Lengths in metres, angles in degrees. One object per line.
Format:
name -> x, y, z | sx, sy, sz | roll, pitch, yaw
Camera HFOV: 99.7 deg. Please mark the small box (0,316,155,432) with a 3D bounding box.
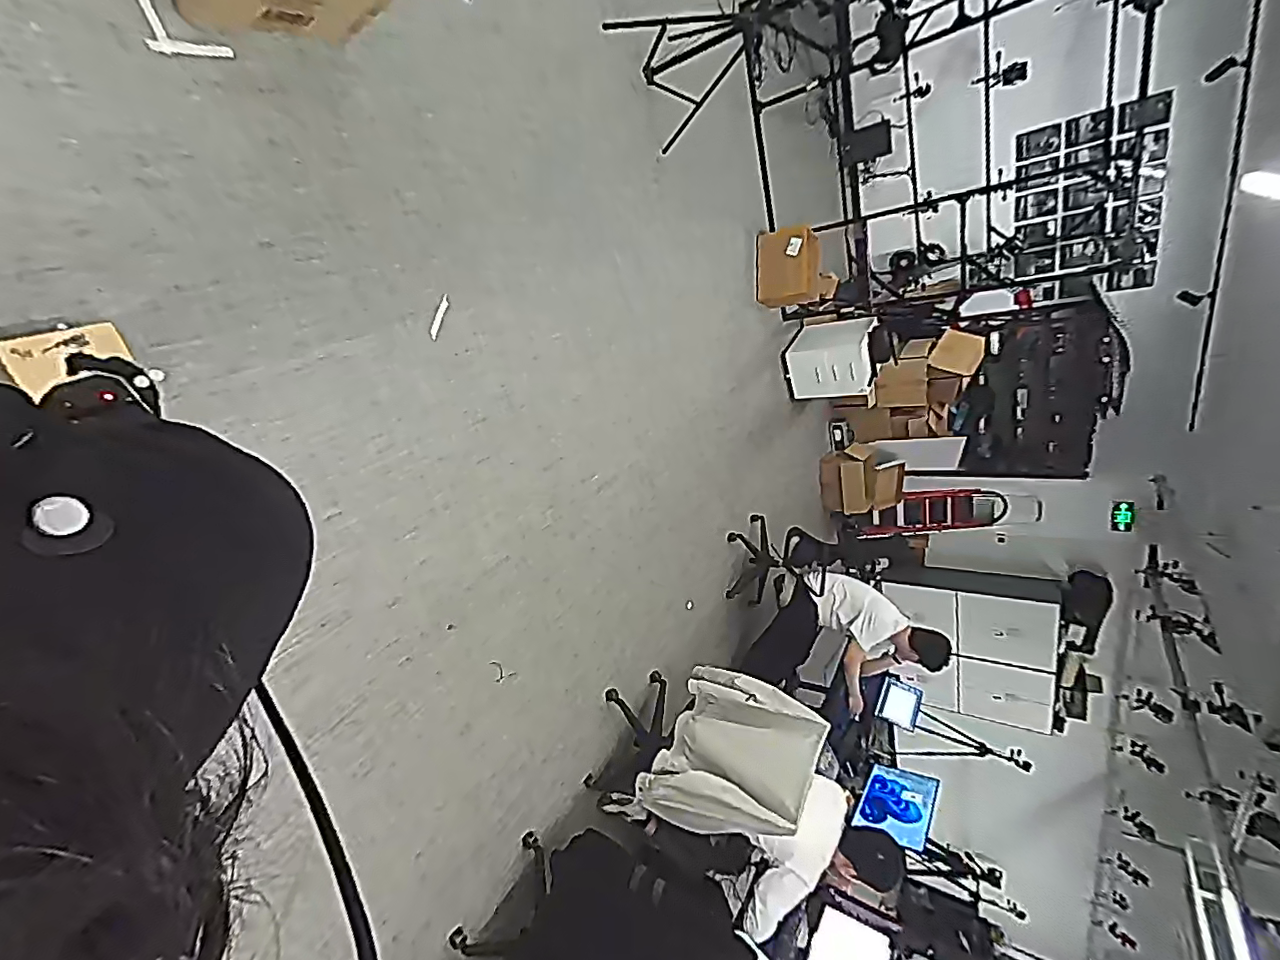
small box -> -1.087, -0.201, 1.030 | 0.168, 0.176, 0.179 | -39, 123, -47
